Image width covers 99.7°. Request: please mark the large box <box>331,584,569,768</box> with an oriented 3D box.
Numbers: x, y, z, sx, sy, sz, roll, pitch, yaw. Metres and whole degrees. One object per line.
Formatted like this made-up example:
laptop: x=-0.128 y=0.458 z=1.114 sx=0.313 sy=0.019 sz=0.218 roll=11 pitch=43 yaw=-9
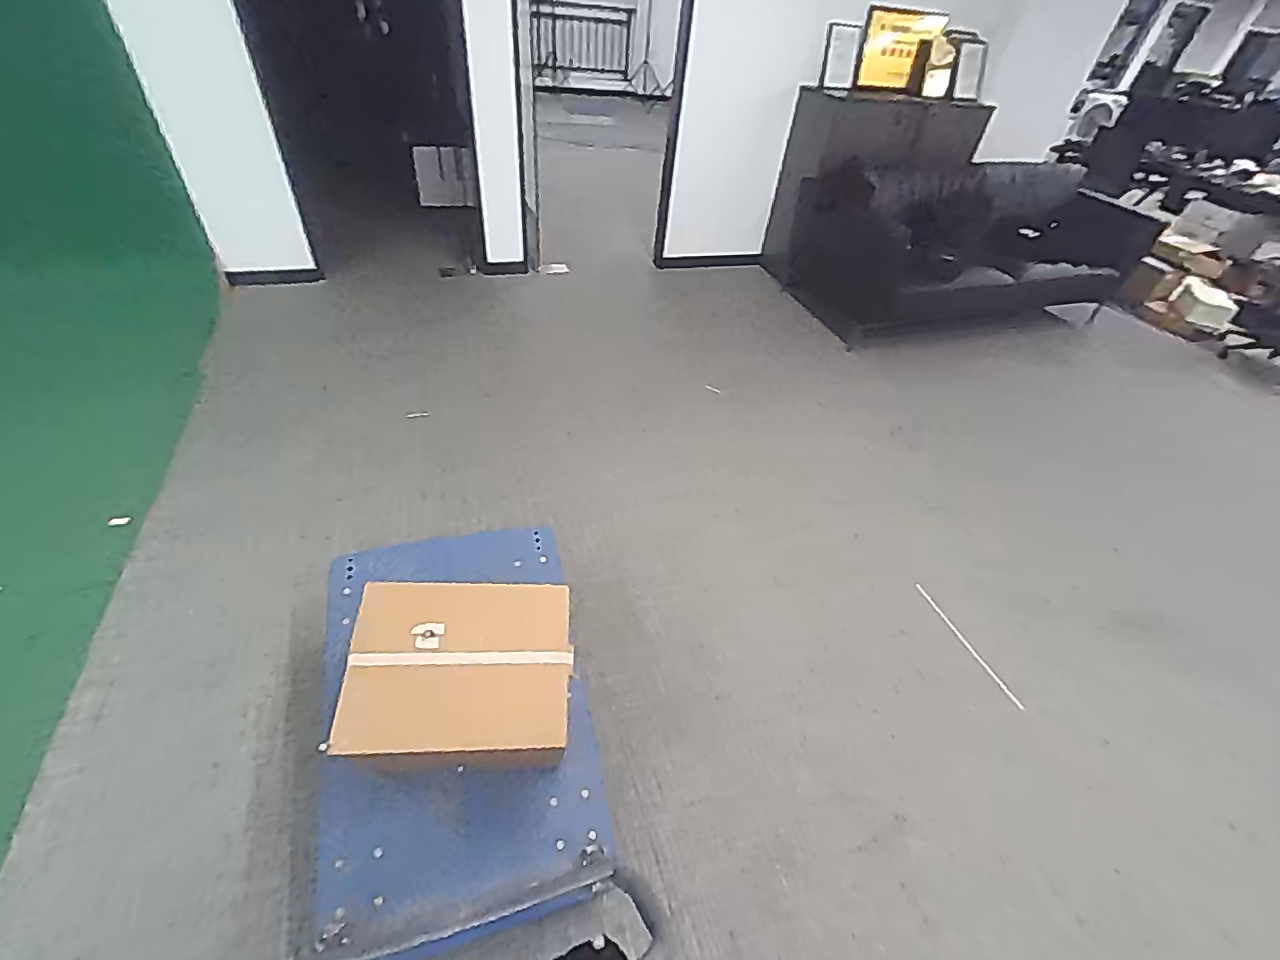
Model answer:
large box: x=-0.359 y=0.424 z=1.152 sx=0.408 sy=0.320 sz=0.320 roll=3 pitch=56 yaw=-8
